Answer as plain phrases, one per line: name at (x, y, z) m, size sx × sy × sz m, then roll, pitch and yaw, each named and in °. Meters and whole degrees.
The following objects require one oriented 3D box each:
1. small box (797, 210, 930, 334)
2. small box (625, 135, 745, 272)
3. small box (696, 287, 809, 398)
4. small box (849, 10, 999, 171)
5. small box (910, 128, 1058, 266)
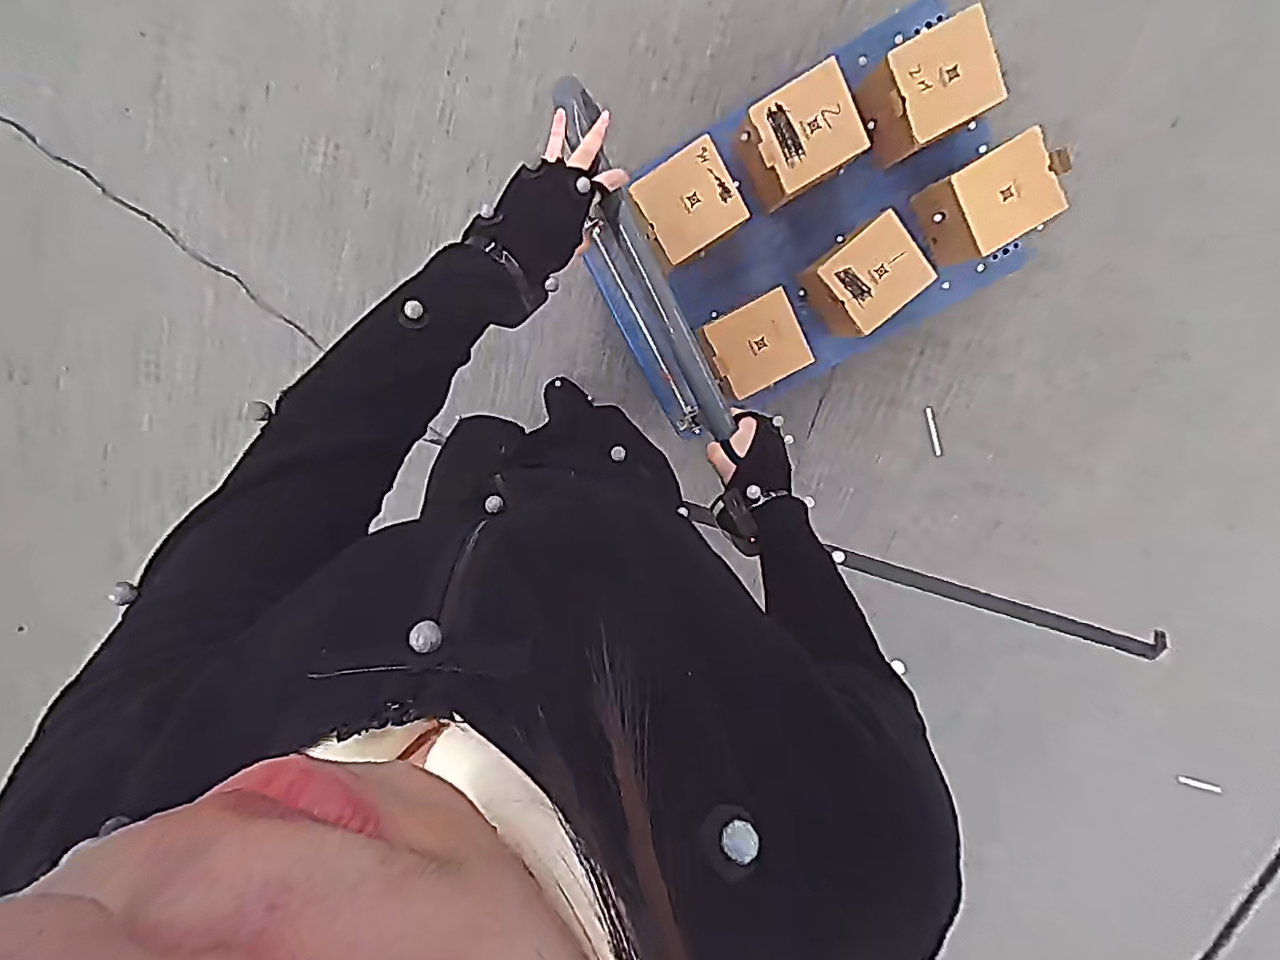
small box at (0.451, -0.421, 1.132) m, size 0.179 × 0.176 × 0.168 m, roll -39°, pitch 101°, yaw 8°
small box at (0.087, -0.543, 1.095) m, size 0.179 × 0.176 × 0.168 m, roll -31°, pitch 103°, yaw 7°
small box at (0.230, -0.291, 1.163) m, size 0.179 × 0.176 × 0.168 m, roll -27°, pitch 104°, yaw 5°
small box at (0.542, -0.741, 1.052) m, size 0.179 × 0.176 × 0.168 m, roll -26°, pitch 103°, yaw 6°
small box at (0.684, -0.561, 1.101) m, size 0.179 × 0.176 × 0.168 m, roll -30°, pitch 102°, yaw 7°
